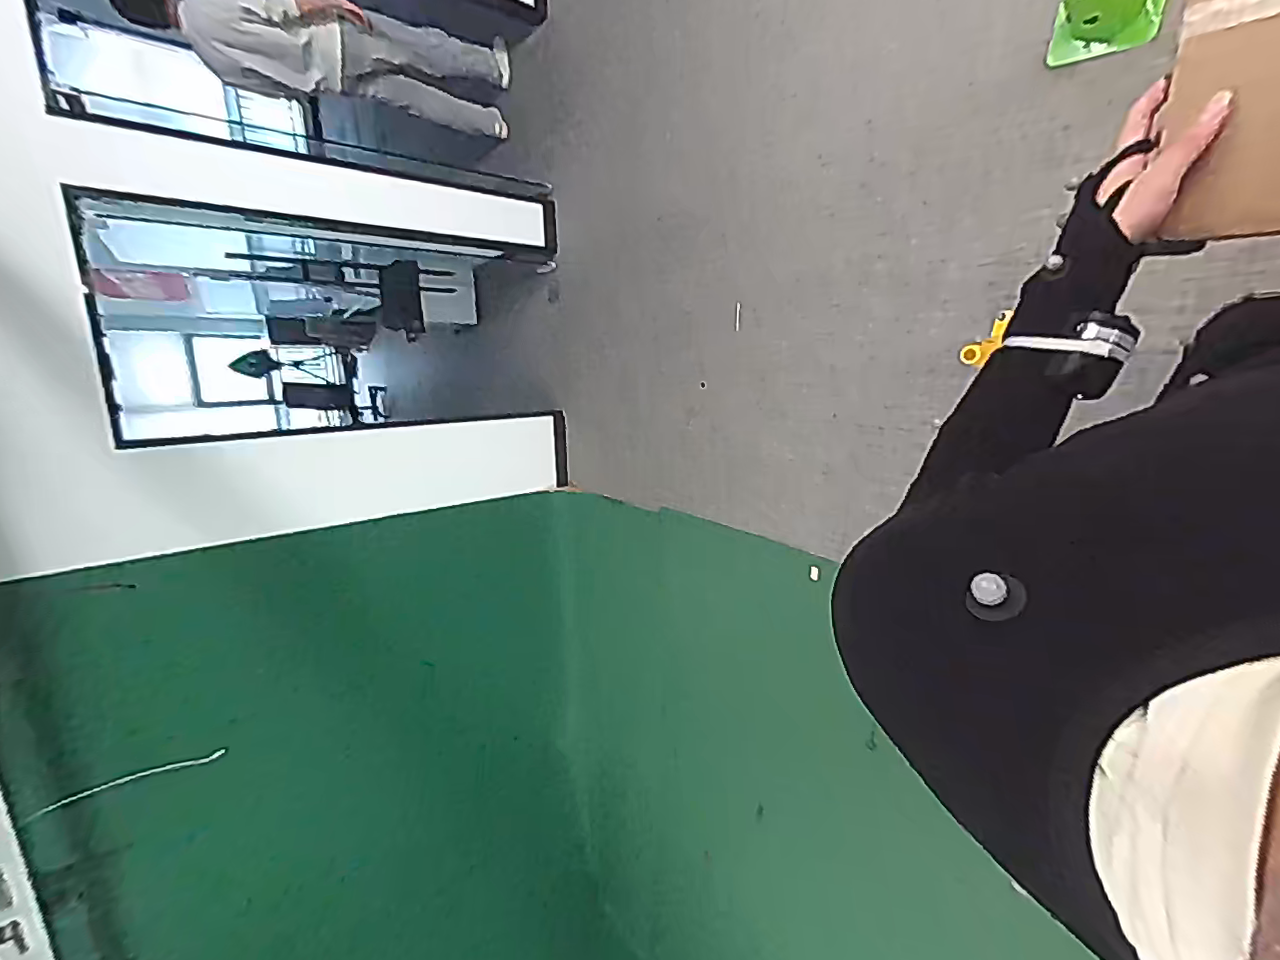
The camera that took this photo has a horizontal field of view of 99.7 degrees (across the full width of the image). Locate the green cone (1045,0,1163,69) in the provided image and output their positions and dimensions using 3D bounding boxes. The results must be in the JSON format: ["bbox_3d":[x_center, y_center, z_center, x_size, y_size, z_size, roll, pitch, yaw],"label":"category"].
[{"bbox_3d":[0.894,-1.020,1.093,0.200,0.368,0.202,23,118,49],"label":"green cone"}]
